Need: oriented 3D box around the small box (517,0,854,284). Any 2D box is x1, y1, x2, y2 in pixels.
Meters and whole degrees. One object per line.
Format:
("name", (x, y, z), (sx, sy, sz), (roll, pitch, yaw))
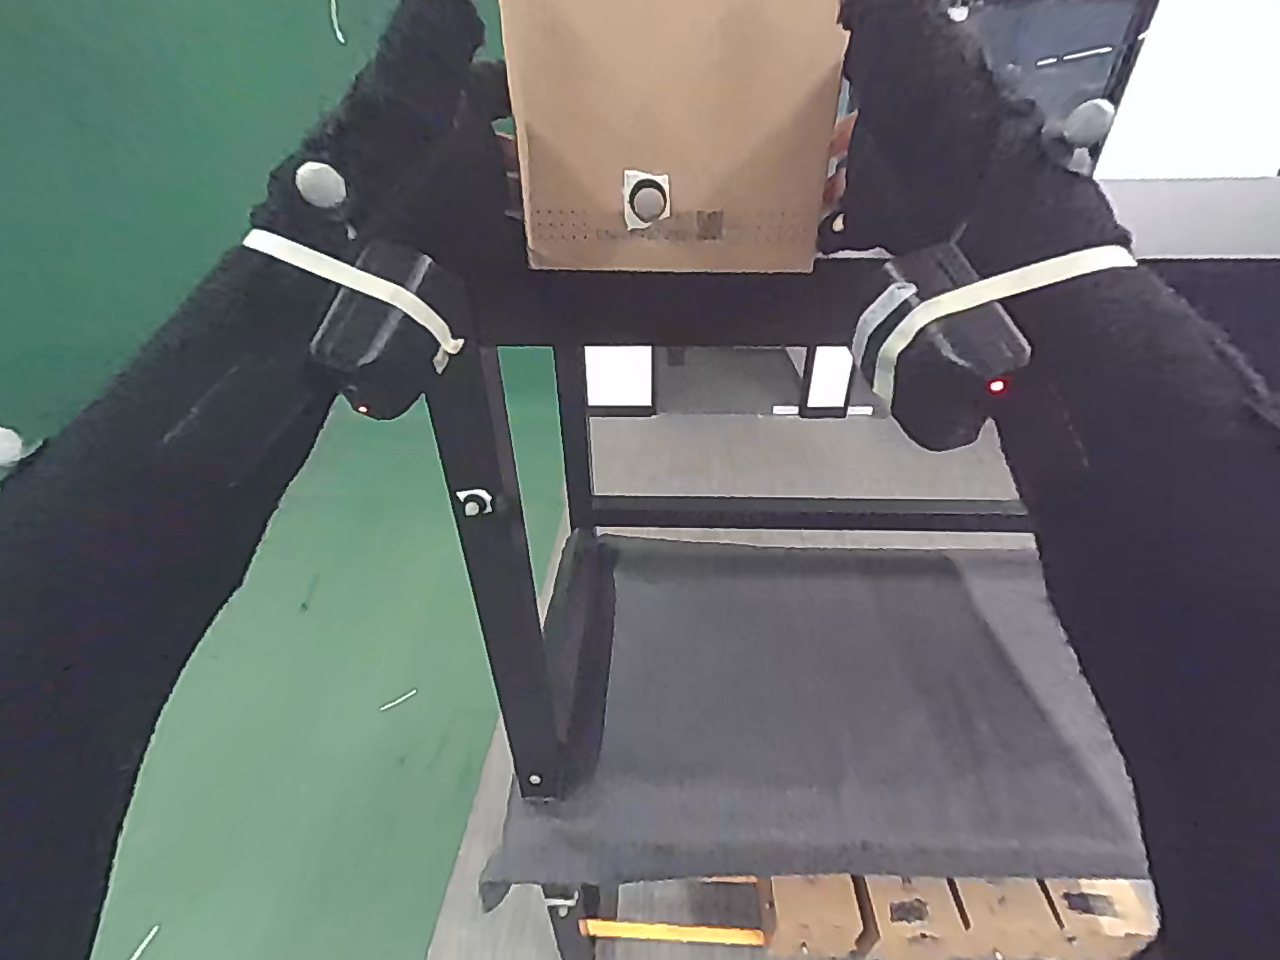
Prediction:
("small box", (0.022, -0.234, 0.348), (0.168, 0.176, 0.179), (0, 33, 2))
